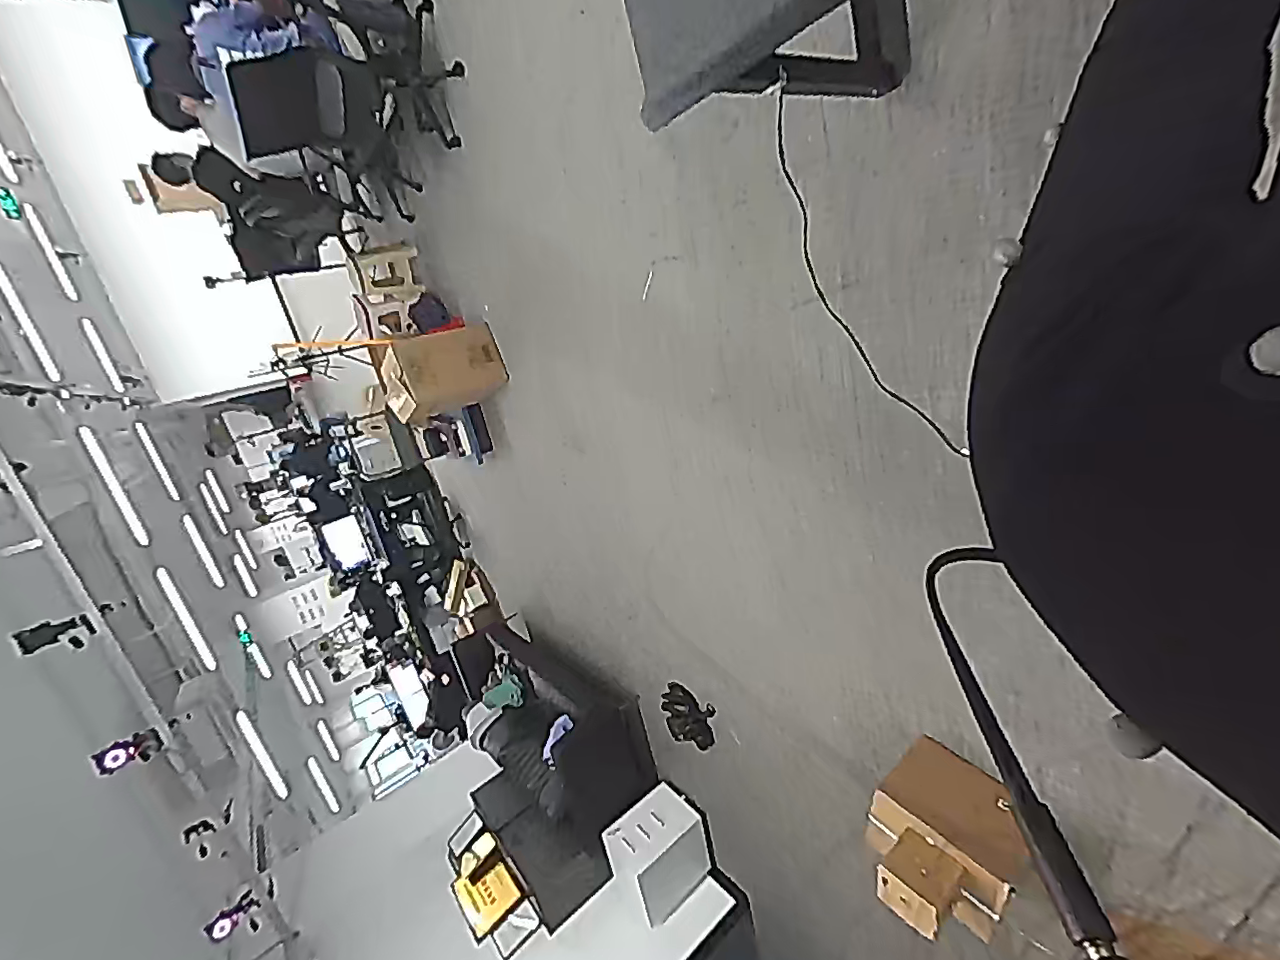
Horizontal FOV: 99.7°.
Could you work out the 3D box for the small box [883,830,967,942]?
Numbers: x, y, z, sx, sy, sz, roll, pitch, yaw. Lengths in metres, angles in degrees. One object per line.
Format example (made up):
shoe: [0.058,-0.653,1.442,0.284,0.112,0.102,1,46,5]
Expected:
small box: [0.865,1.220,1.638,0.179,0.176,0.168,19,125,49]
